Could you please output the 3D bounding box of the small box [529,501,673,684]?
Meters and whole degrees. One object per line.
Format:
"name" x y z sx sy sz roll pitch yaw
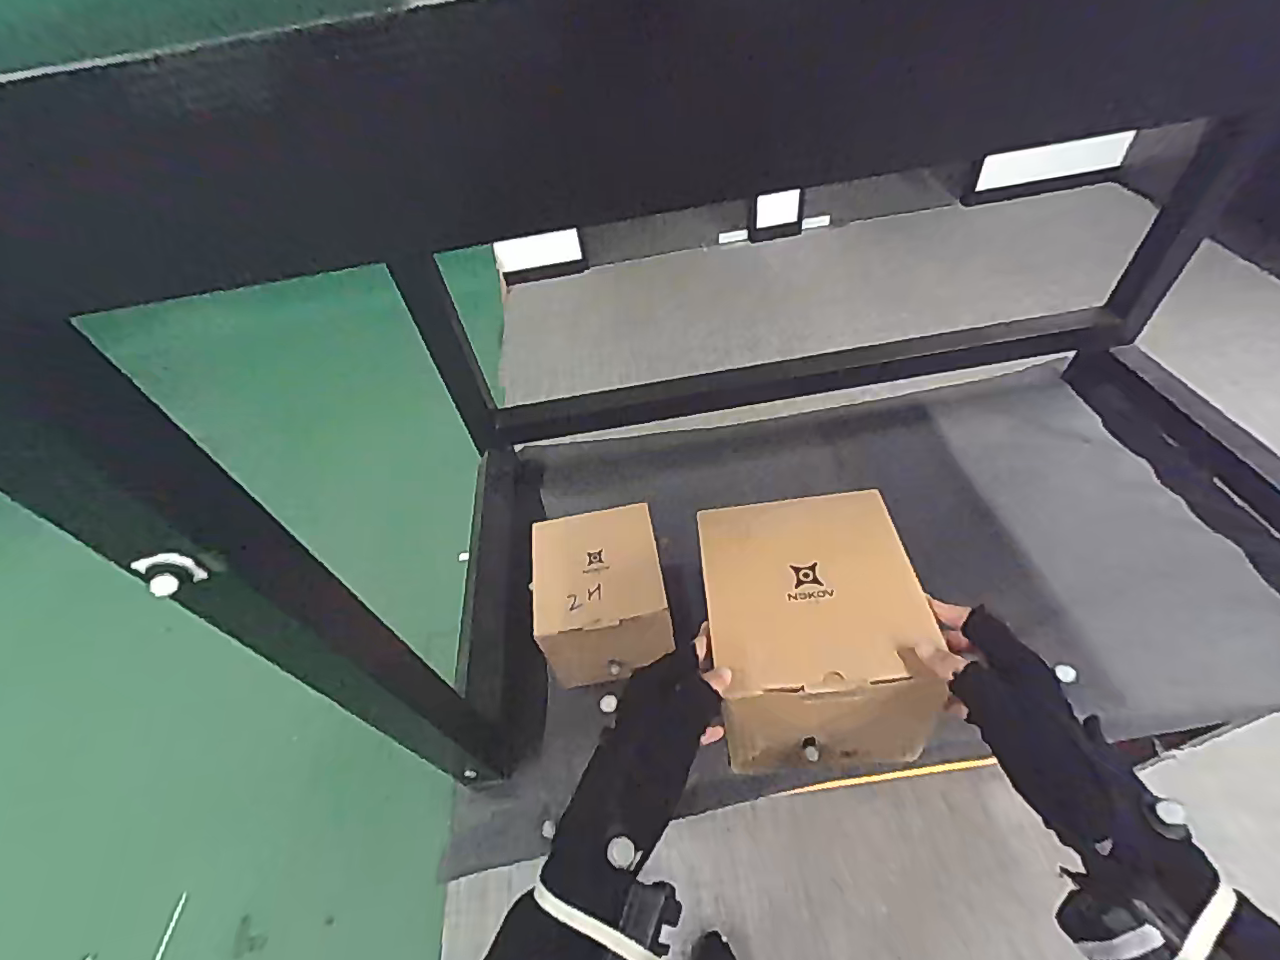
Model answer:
"small box" -0.052 0.159 0.756 0.168 0.176 0.179 -11 48 0
